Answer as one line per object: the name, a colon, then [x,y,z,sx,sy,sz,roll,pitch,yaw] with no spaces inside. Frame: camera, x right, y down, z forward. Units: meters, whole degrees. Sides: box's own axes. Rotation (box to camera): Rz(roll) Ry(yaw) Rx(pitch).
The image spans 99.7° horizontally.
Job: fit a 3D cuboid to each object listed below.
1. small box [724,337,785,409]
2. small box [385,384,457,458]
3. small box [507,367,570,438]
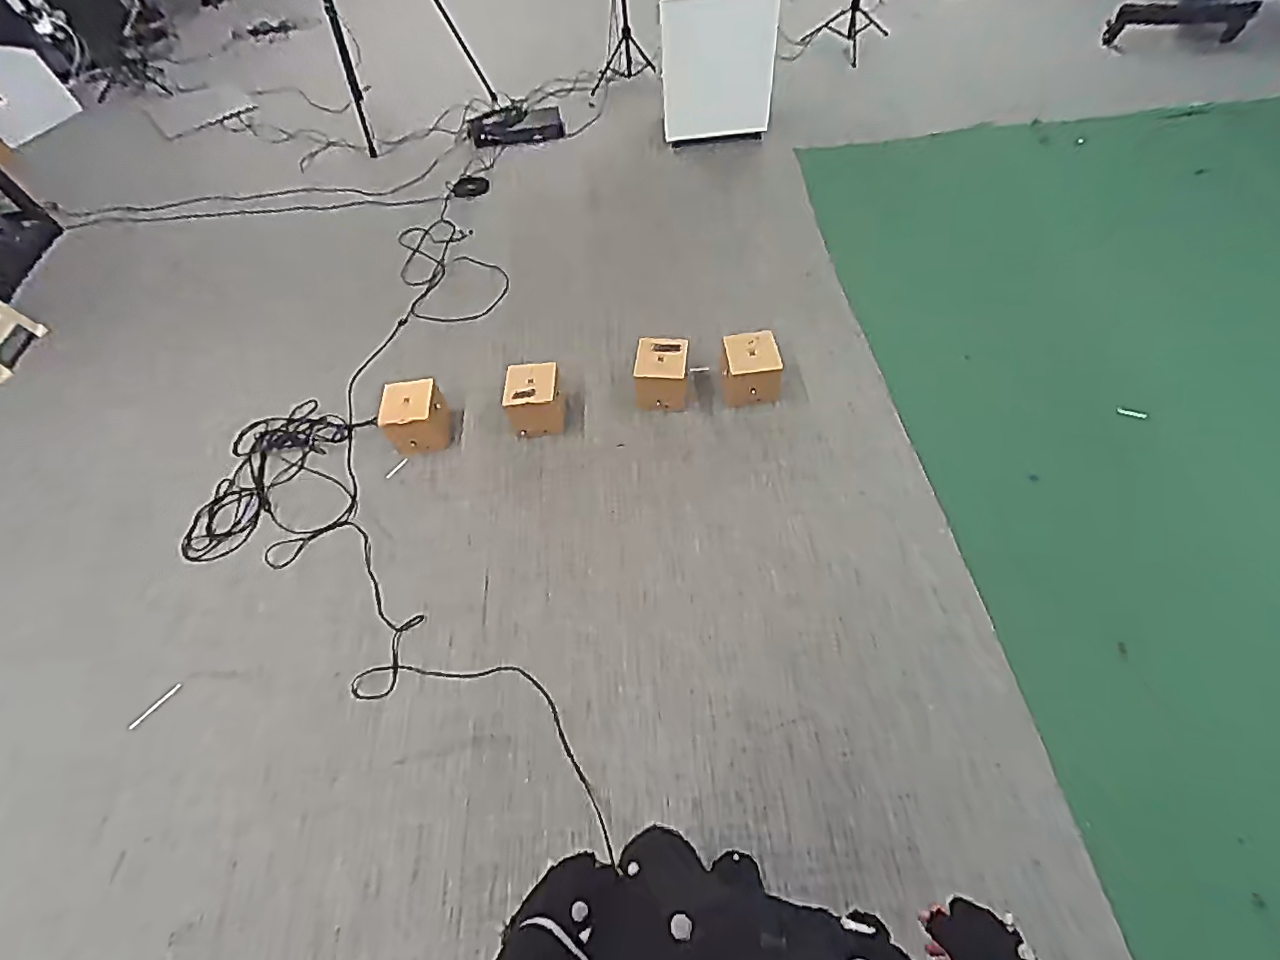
small box: [0.378,-0.352,1.814,0.168,0.176,0.179,-6,57,1]
small box: [-0.734,-0.199,1.830,0.168,0.176,0.179,-8,57,2]
small box: [-0.334,-0.254,1.822,0.168,0.176,0.179,-3,56,4]
